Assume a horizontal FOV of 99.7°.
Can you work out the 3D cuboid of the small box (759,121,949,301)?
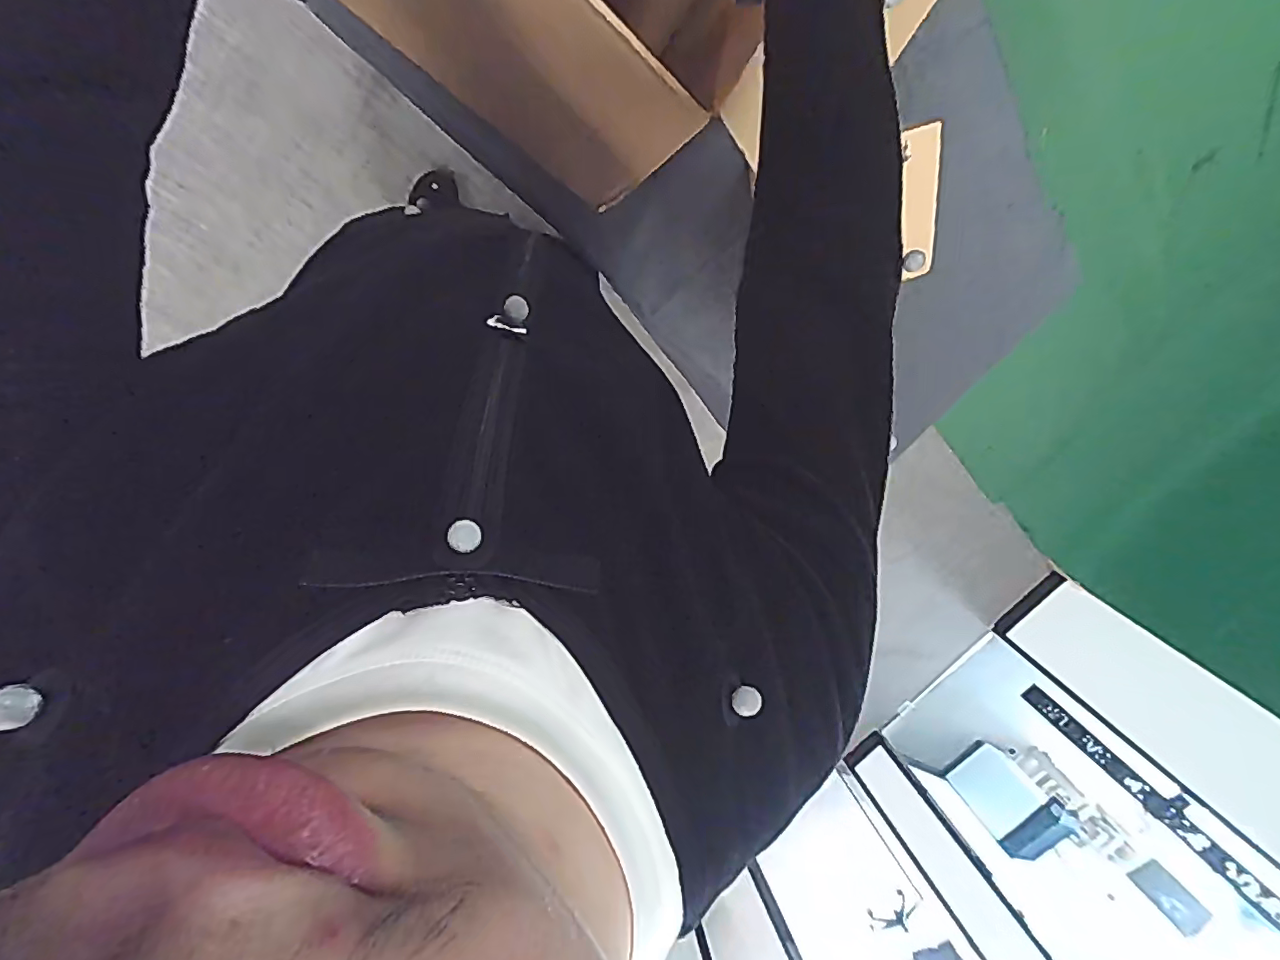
[{"bbox_3d":[0.272,-0.365,0.725,0.168,0.176,0.179,-18,125,-7],"label":"small box"}]
